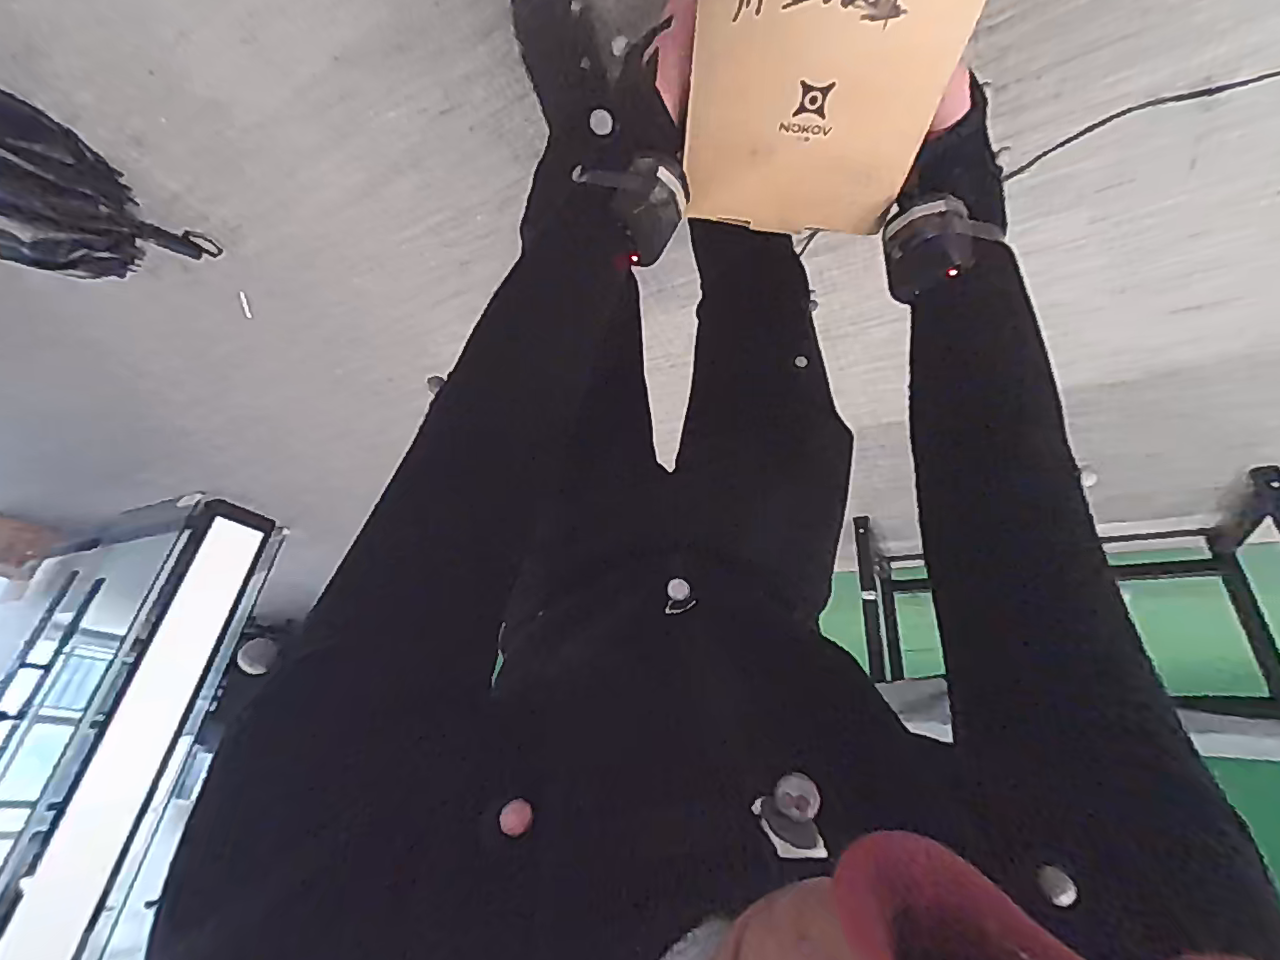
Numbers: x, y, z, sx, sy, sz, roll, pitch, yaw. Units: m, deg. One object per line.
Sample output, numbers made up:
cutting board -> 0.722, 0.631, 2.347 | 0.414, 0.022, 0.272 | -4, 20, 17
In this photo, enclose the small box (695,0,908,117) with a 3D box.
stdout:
small box -> 0.146, -0.464, 0.477 | 0.168, 0.176, 0.179 | 7, 150, 3
